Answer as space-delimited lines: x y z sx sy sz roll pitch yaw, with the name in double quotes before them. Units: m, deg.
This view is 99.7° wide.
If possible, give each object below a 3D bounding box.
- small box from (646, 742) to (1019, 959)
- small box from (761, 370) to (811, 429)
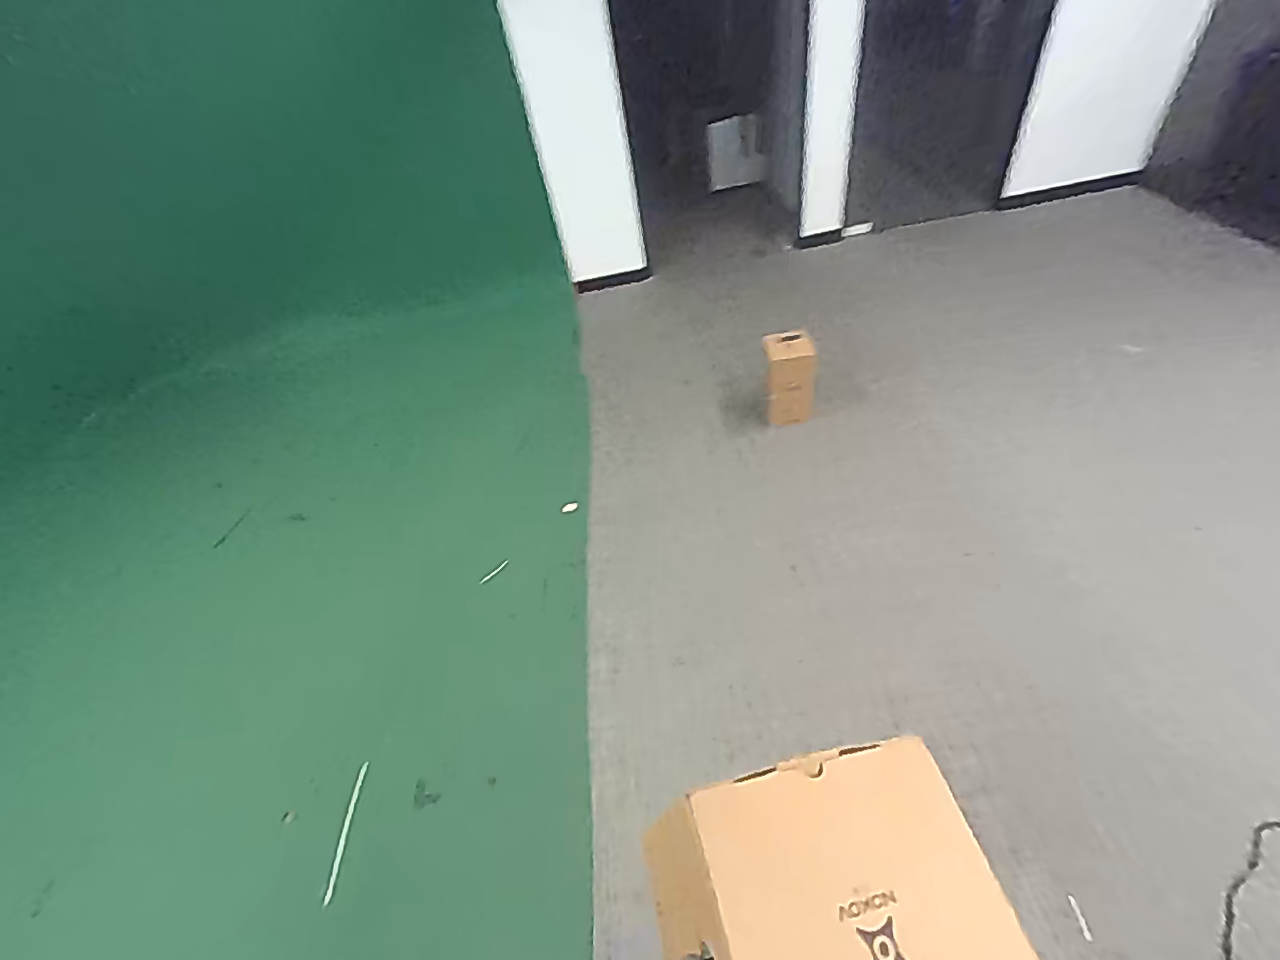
"small box" 0.108 0.295 0.346 0.168 0.176 0.179 -5 50 -14
"small box" 0.602 -0.327 2.239 0.168 0.176 0.179 -9 45 4
